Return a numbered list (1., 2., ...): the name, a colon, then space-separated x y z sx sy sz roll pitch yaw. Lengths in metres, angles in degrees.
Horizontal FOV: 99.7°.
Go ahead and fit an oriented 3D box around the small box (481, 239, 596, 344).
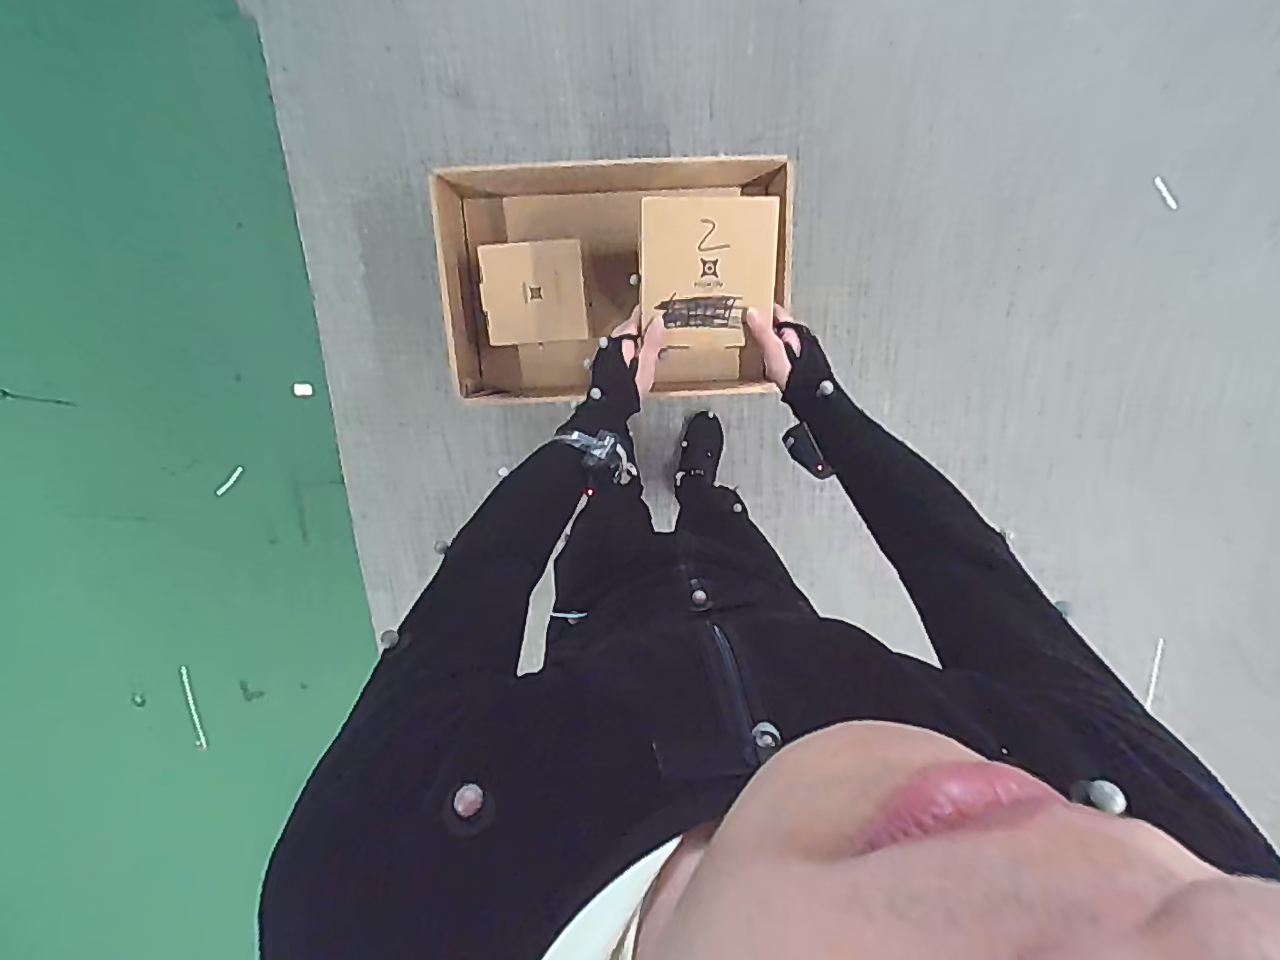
1. small box: -0.179 -0.340 1.002 0.179 0.176 0.168 -3 104 0
